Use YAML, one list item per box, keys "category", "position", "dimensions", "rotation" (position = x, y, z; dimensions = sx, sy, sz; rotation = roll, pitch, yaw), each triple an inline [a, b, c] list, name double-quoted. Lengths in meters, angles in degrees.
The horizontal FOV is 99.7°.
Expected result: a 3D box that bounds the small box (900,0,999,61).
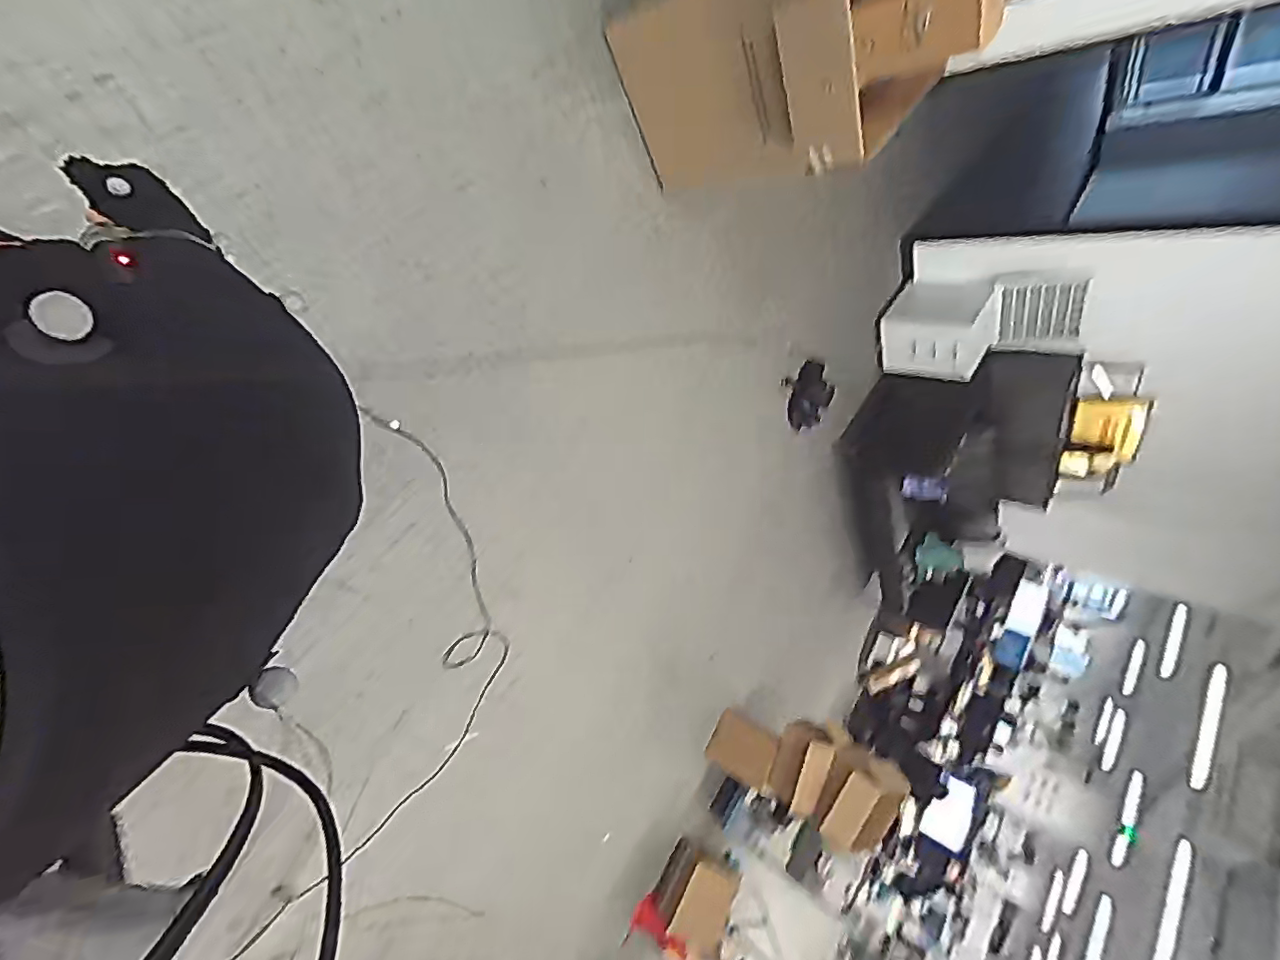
- category: "small box"
  position: [0.745, -1.156, 1.301]
  dimensions: [0.179, 0.176, 0.168]
  rotation: [-53, 137, -19]
